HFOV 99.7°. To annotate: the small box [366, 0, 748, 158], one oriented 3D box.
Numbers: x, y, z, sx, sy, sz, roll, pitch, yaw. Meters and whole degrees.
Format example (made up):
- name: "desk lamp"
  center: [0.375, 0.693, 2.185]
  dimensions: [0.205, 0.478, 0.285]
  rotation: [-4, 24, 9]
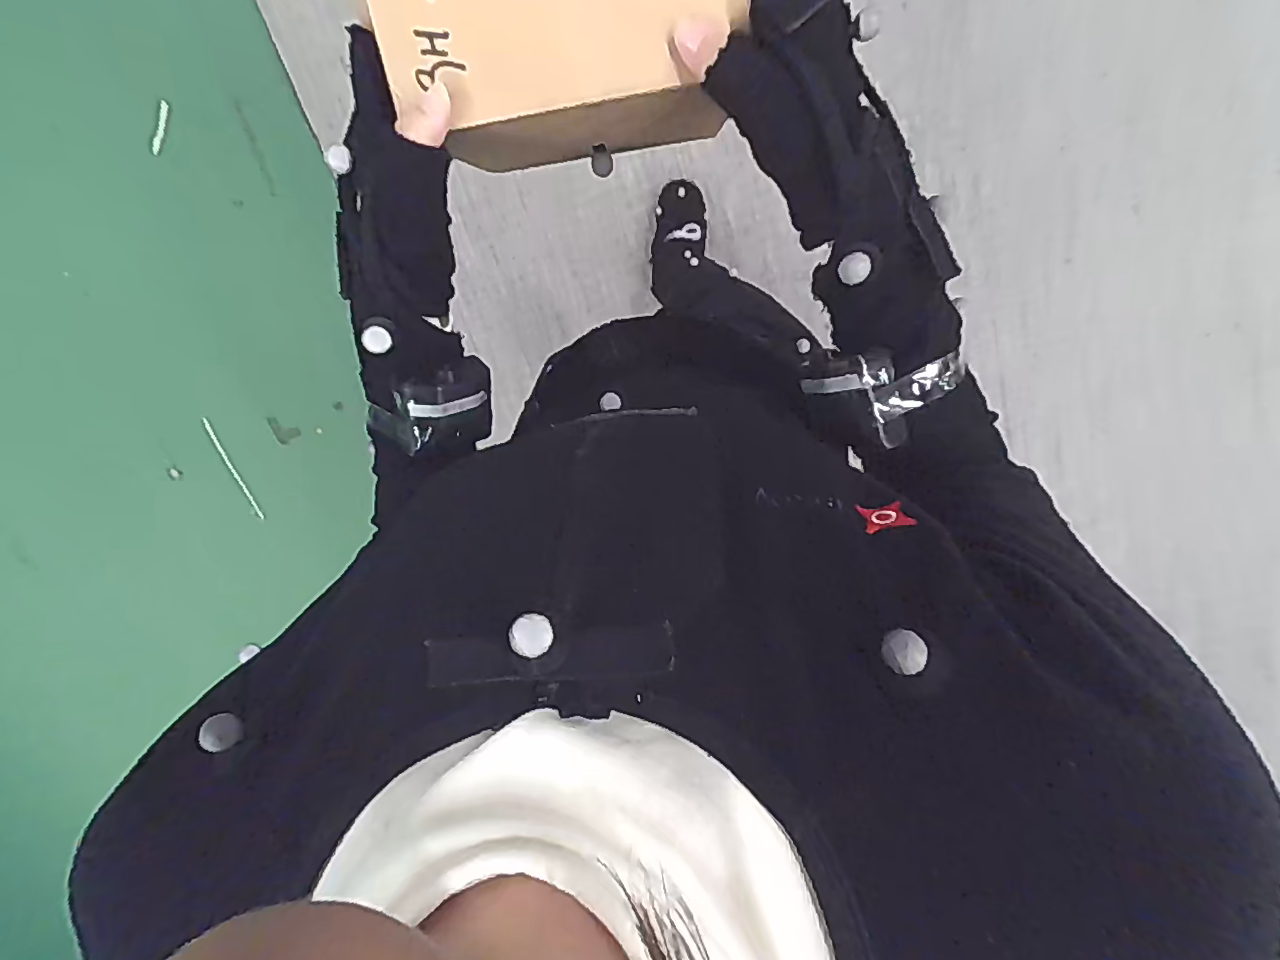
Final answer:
- name: "small box"
  center: [-0.045, -0.295, 0.302]
  dimensions: [0.179, 0.176, 0.168]
  rotation: [-7, 113, 4]
